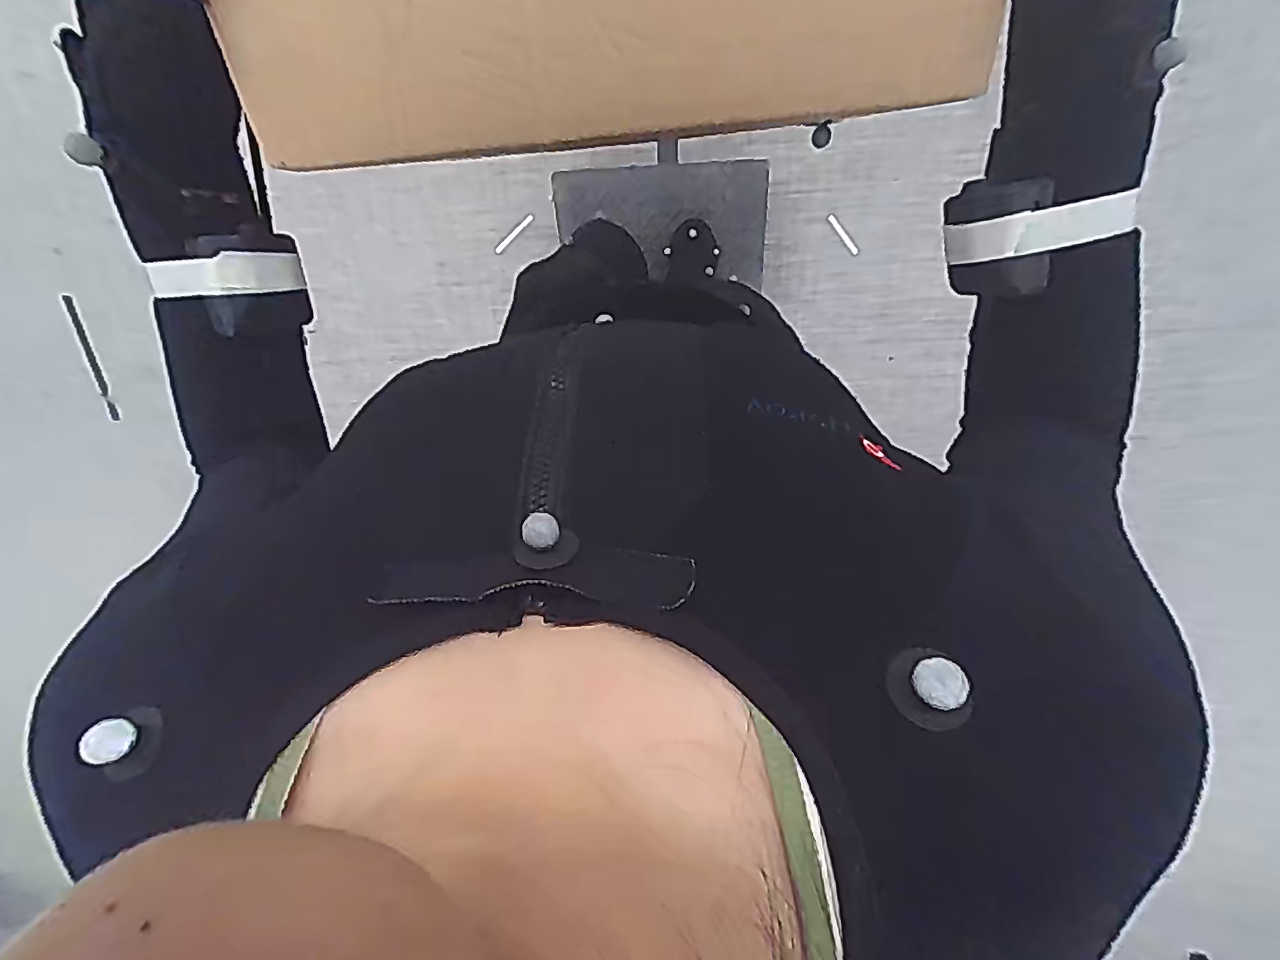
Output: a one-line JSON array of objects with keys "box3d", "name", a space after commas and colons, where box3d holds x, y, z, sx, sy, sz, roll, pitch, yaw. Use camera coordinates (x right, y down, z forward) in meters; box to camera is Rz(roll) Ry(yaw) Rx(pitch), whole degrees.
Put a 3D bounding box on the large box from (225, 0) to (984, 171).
[{"box3d": [-0.024, -0.410, 0.359, 0.408, 0.320, 0.320, -3, 121, 4], "name": "large box"}]
